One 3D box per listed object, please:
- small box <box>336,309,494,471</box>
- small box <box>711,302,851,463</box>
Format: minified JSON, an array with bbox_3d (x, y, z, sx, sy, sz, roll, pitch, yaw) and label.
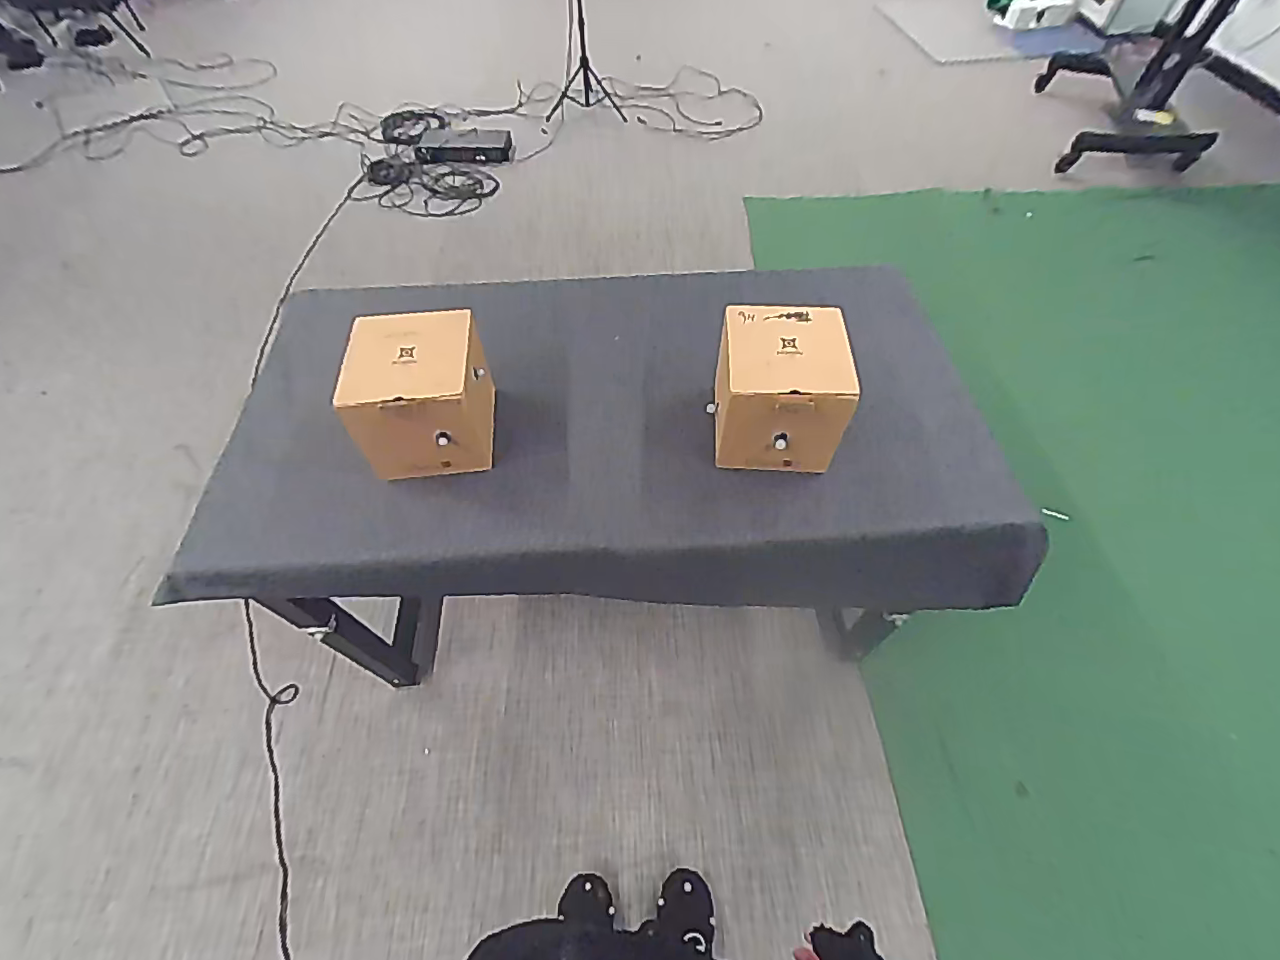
[{"bbox_3d":[-0.320,-0.127,0.810,0.168,0.176,0.179,-6,55,-4],"label":"small box"},{"bbox_3d":[0.196,-0.140,0.803,0.168,0.176,0.179,2,58,3],"label":"small box"}]
